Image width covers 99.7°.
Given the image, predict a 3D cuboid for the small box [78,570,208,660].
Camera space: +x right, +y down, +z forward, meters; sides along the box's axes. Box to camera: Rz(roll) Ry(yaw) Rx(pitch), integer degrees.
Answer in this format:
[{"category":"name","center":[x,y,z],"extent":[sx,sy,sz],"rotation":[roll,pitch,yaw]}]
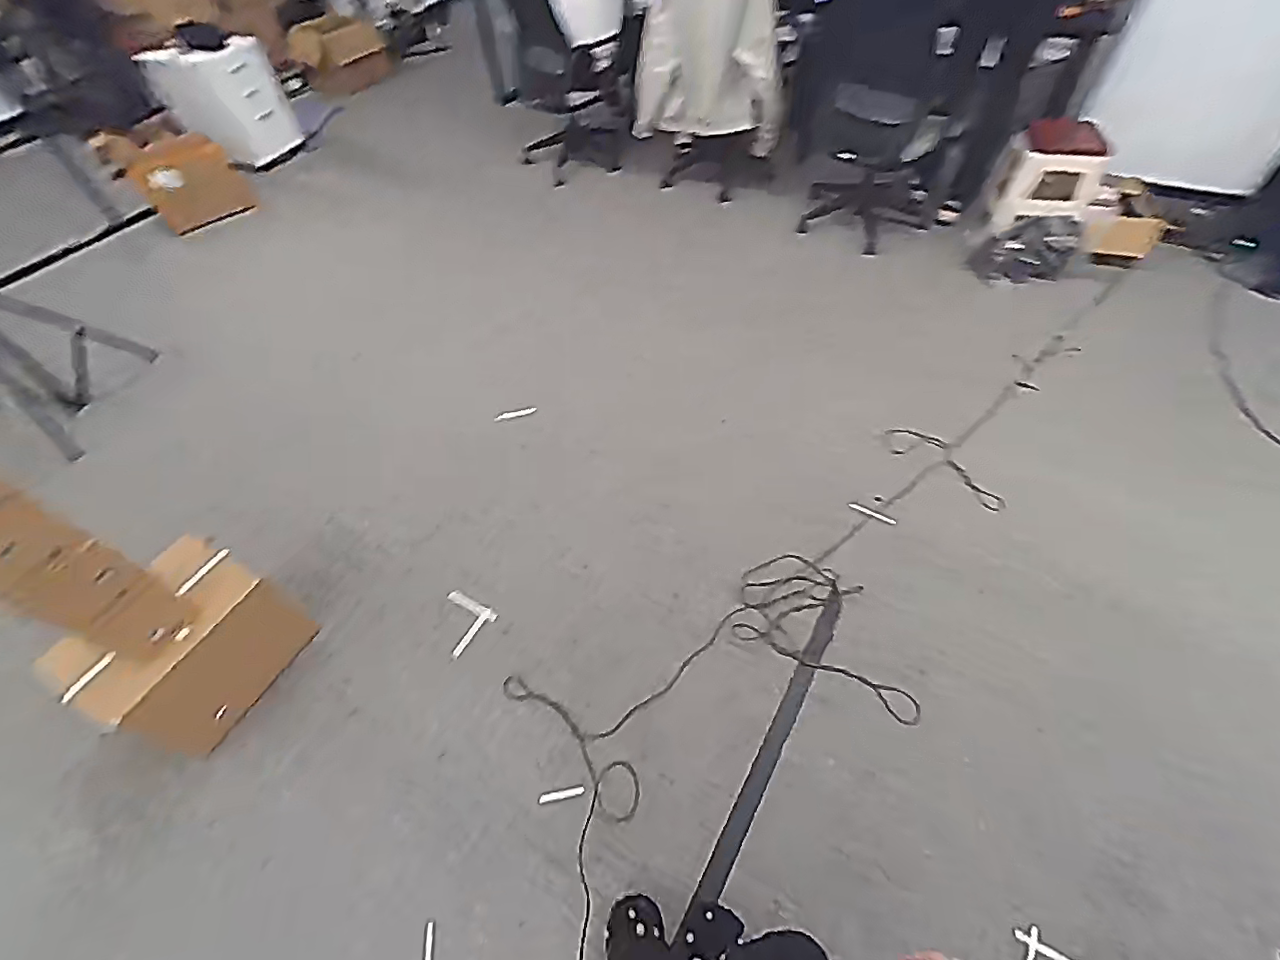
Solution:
[{"category":"small box","center":[-1.167,0.289,1.244],"extent":[0.179,0.176,0.168],"rotation":[23,58,18]}]

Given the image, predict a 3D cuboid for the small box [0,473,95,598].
[{"category":"small box","center":[-1.178,0.092,0.984],"extent":[0.179,0.176,0.168],"rotation":[18,55,15]}]

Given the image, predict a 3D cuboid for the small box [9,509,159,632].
[{"category":"small box","center":[-1.166,0.190,1.116],"extent":[0.179,0.176,0.168],"rotation":[20,56,18]}]
